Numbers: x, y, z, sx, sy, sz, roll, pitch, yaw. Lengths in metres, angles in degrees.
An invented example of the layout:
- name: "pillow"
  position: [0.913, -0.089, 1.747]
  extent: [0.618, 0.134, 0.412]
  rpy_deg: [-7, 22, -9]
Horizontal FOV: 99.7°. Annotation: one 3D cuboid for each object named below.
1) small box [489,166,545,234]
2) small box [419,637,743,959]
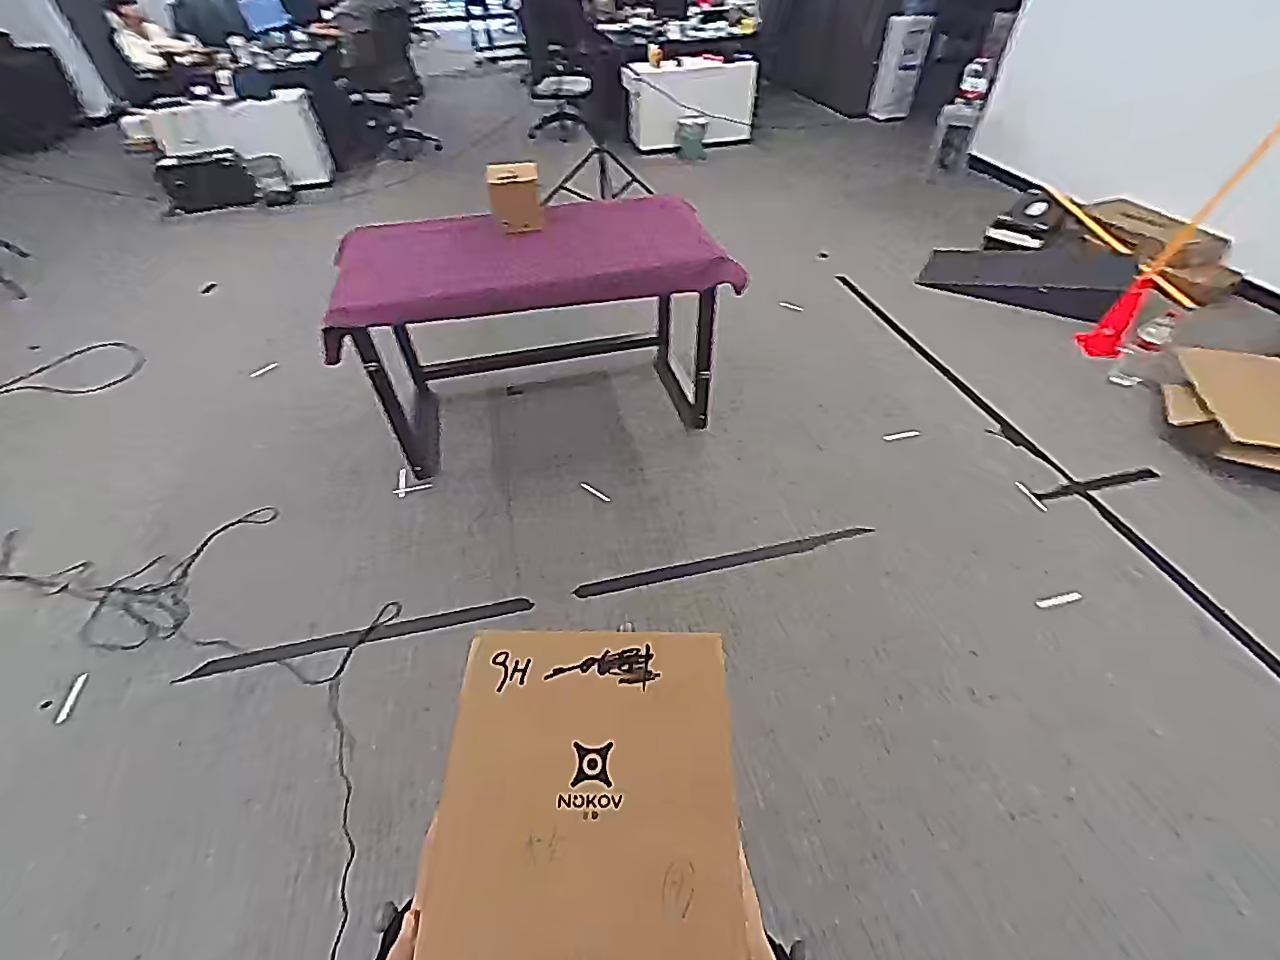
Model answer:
- name: "small box"
  position: [-0.432, -0.984, 1.909]
  extent: [0.168, 0.176, 0.179]
  rpy_deg: [-8, 47, -6]
- name: "small box"
  position: [-0.028, 0.220, 0.376]
  extent: [0.168, 0.176, 0.179]
  rpy_deg: [0, 56, -1]
